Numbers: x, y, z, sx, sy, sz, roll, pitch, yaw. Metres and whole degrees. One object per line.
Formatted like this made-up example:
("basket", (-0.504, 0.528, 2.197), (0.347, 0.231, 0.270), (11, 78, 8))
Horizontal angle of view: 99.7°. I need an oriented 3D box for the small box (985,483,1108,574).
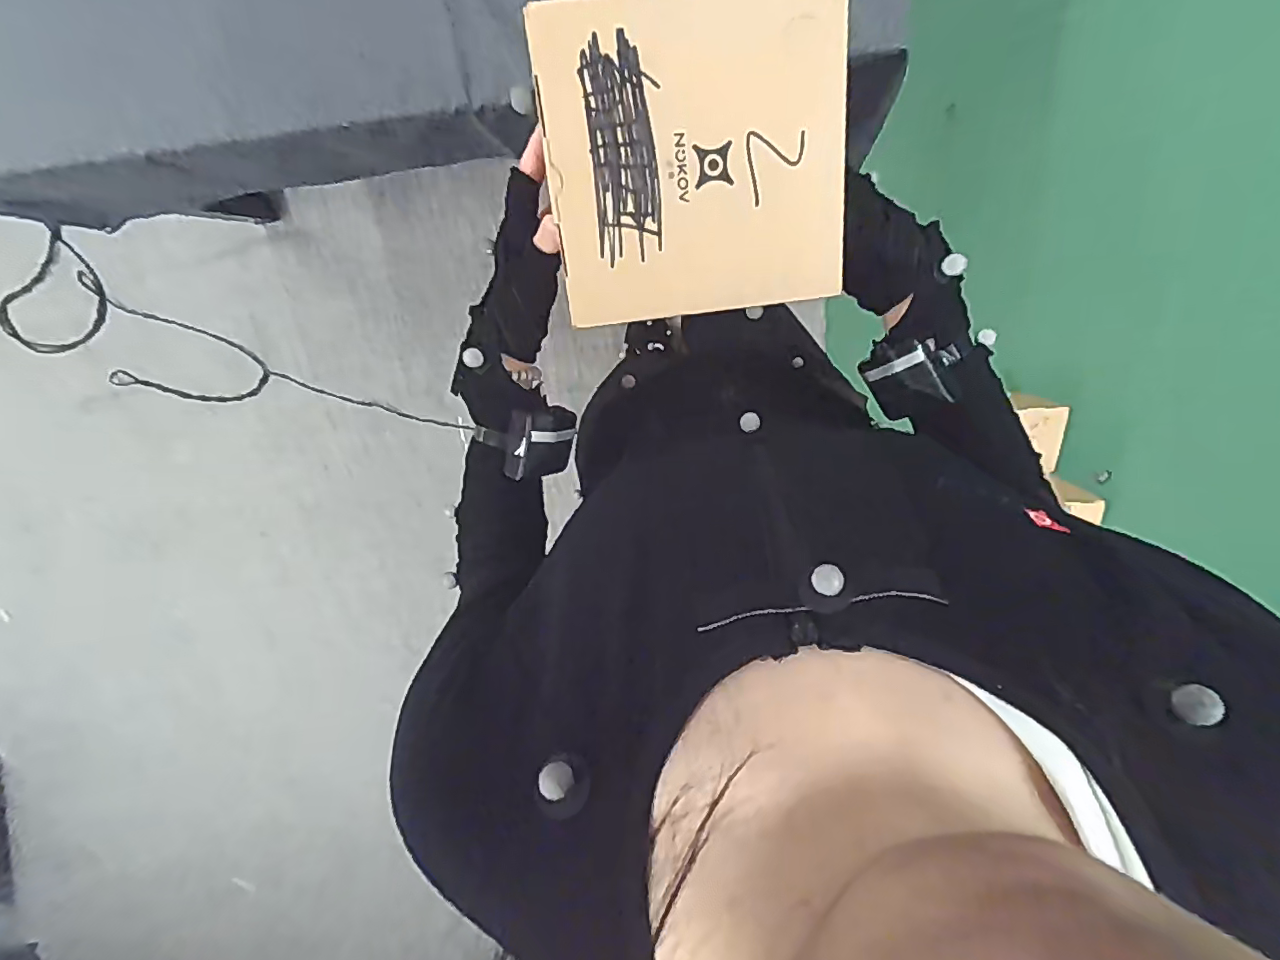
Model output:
("small box", (1.002, 0.118, 1.353), (0.168, 0.176, 0.179), (-2, 110, 0))
